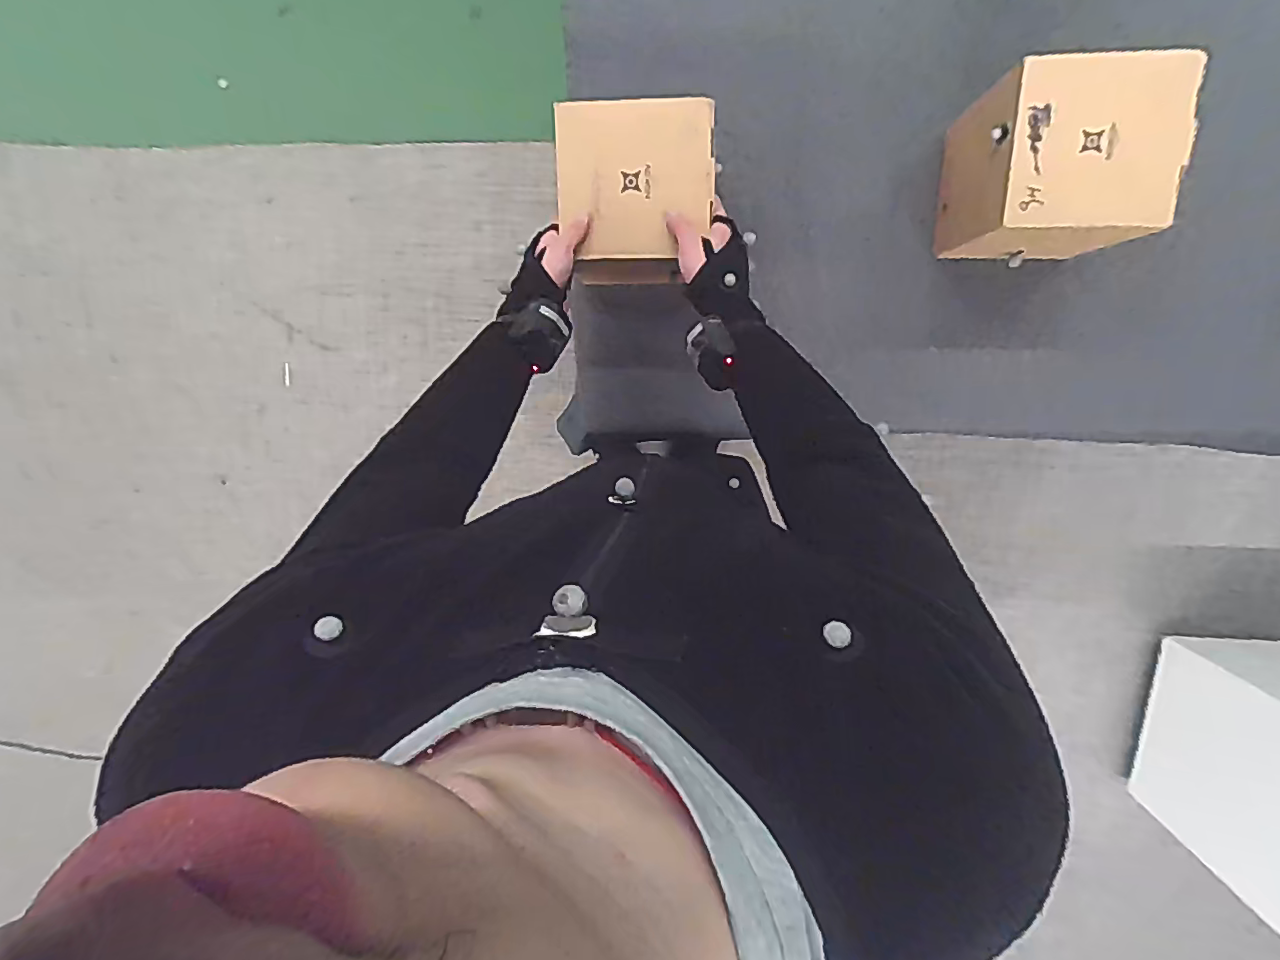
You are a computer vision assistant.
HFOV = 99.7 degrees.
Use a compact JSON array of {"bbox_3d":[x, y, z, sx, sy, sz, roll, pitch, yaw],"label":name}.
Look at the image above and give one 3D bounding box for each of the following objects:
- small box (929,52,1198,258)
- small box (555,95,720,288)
[{"bbox_3d":[0.481,-0.369,0.644,0.179,0.176,0.168,0,101,1],"label":"small box"},{"bbox_3d":[0.001,-0.336,0.660,0.179,0.176,0.168,-2,99,3],"label":"small box"}]
